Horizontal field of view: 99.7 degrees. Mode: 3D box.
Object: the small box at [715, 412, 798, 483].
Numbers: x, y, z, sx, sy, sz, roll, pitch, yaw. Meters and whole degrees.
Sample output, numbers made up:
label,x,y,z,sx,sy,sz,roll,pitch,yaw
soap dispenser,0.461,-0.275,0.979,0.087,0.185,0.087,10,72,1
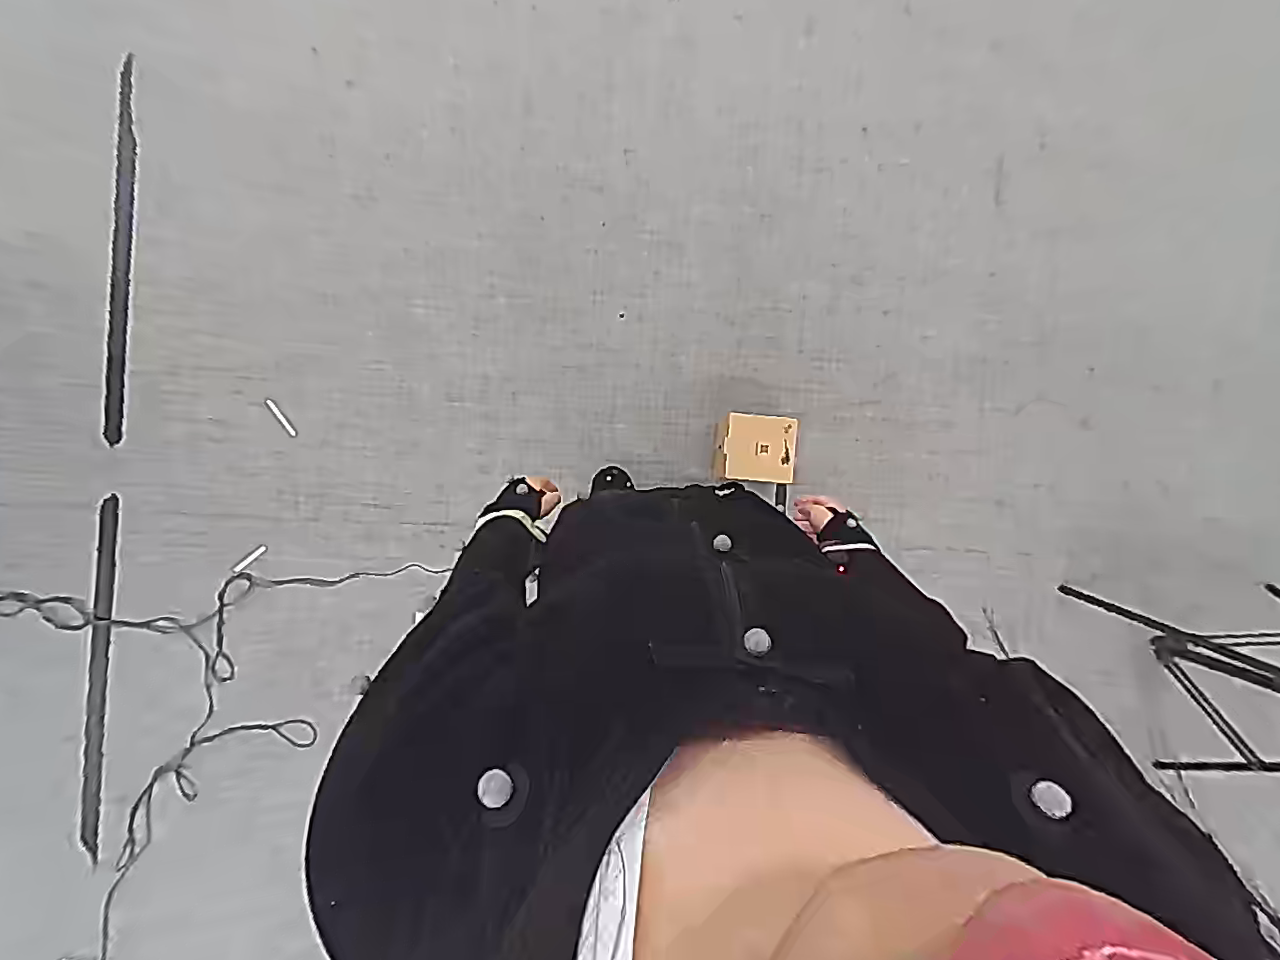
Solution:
label,x,y,z,sx,sy,sz,roll,pitch,yaw
small box,0.299,-0.082,1.427,0.179,0.176,0.168,5,91,-1
